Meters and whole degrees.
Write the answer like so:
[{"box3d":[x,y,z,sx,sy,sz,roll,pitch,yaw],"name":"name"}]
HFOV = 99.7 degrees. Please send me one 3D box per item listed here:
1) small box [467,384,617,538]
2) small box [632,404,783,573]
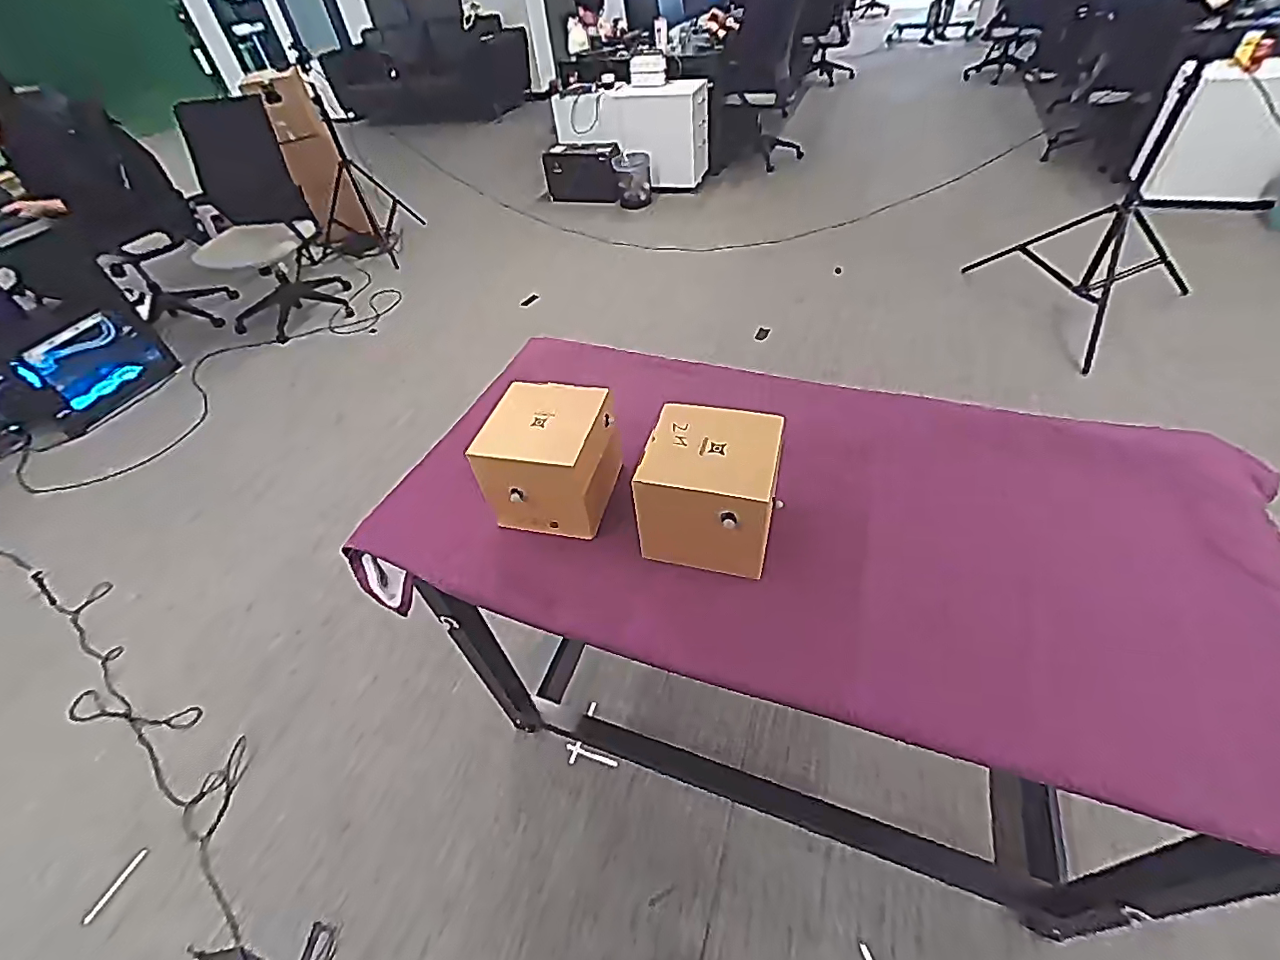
[{"box3d":[-0.140,-0.030,0.857,0.168,0.176,0.179,6,46,13],"name":"small box"},{"box3d":[0.100,0.014,0.778,0.179,0.176,0.168,8,47,15],"name":"small box"}]
